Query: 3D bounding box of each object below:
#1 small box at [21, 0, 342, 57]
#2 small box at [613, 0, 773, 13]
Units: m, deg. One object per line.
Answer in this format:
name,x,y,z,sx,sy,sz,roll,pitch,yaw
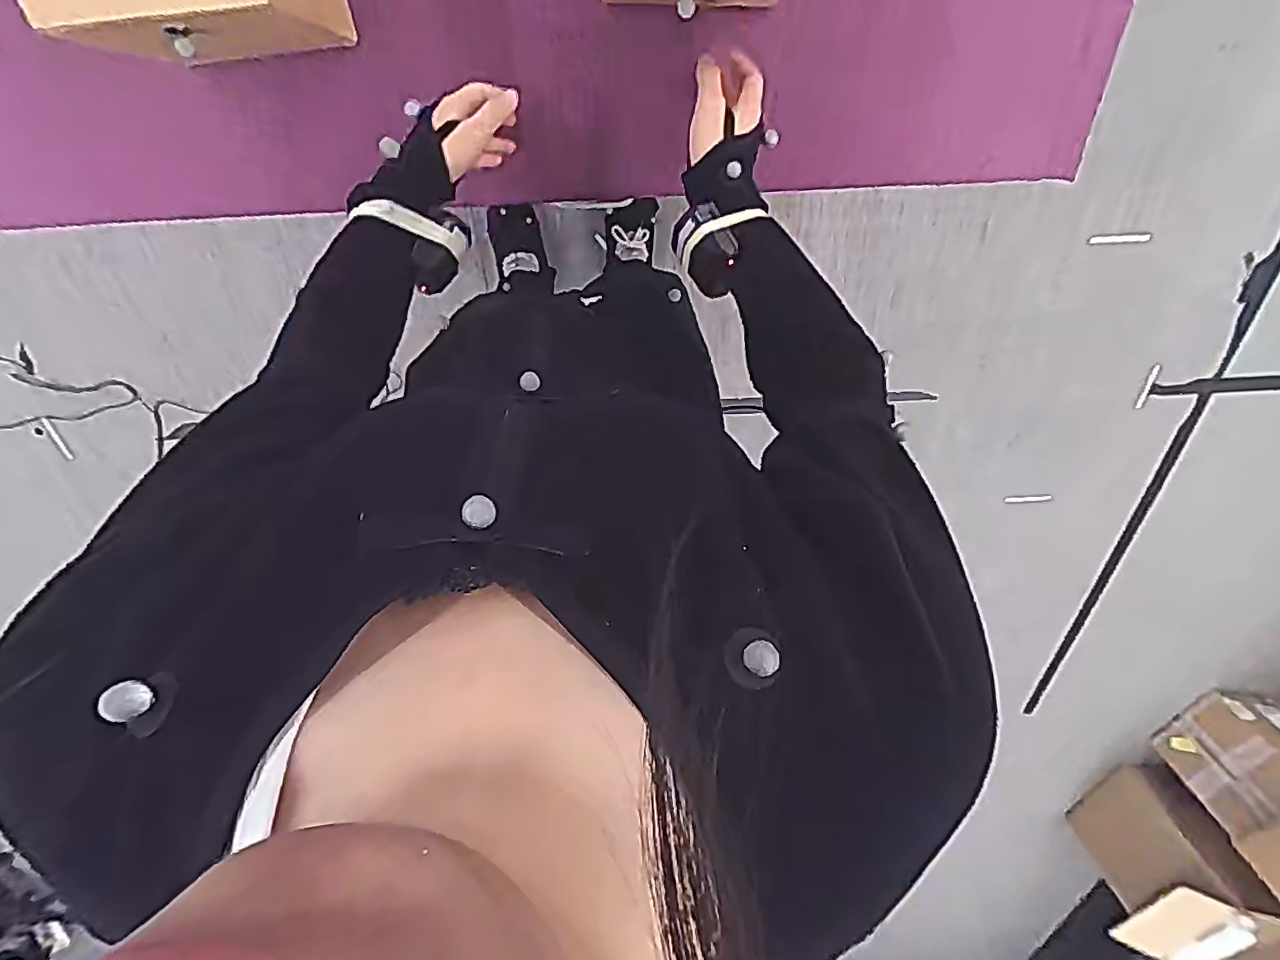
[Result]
small box,-0.360,-0.443,0.414,0.179,0.176,0.168,-6,122,0
small box,0.048,-0.488,0.410,0.168,0.176,0.179,0,123,-3
